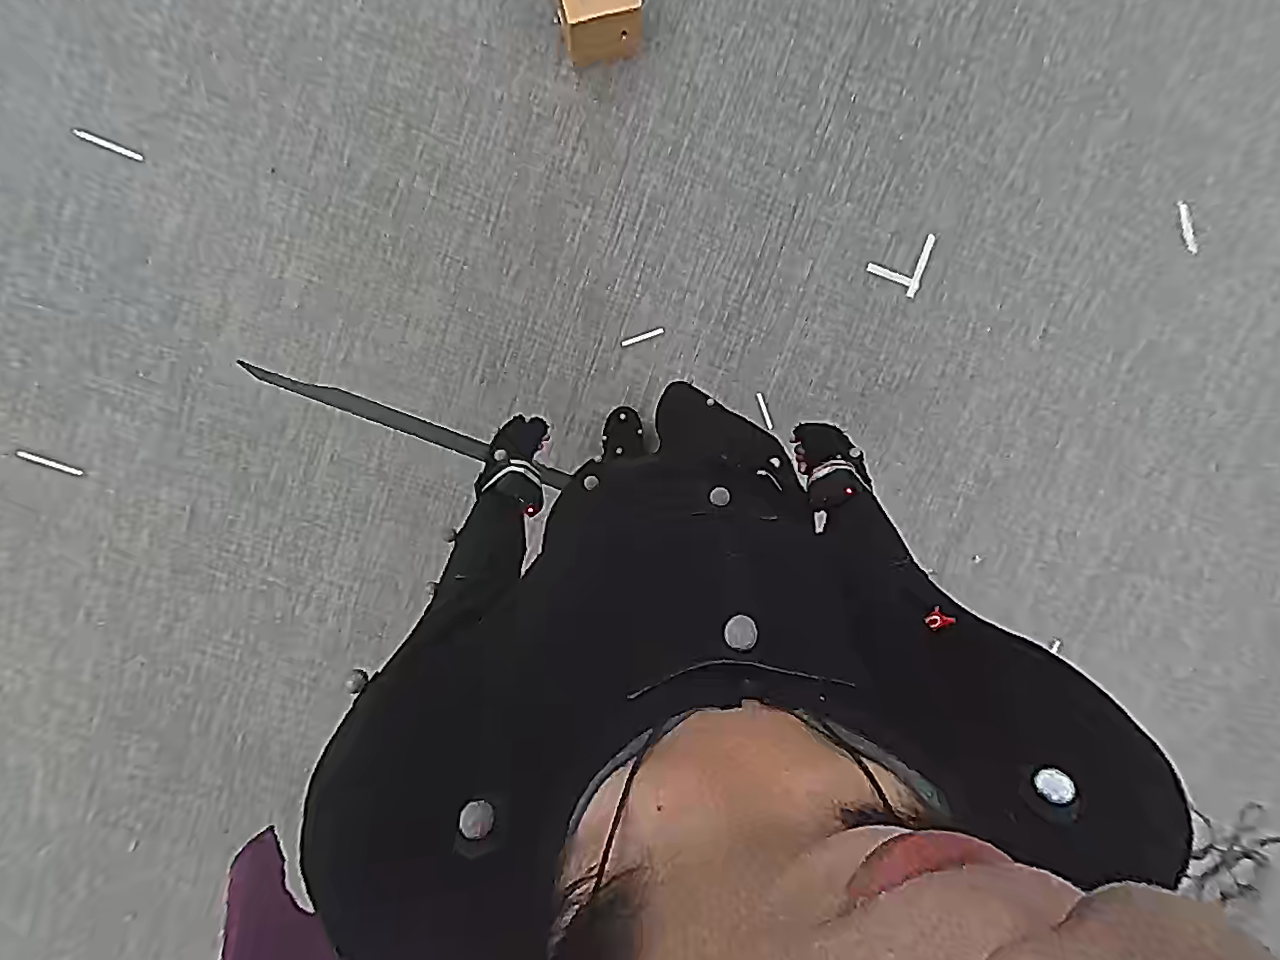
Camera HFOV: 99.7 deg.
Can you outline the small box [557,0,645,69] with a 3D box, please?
[{"bbox_3d":[-0.098,-1.114,1.266,0.179,0.176,0.168,-16,98,-1],"label":"small box"}]
